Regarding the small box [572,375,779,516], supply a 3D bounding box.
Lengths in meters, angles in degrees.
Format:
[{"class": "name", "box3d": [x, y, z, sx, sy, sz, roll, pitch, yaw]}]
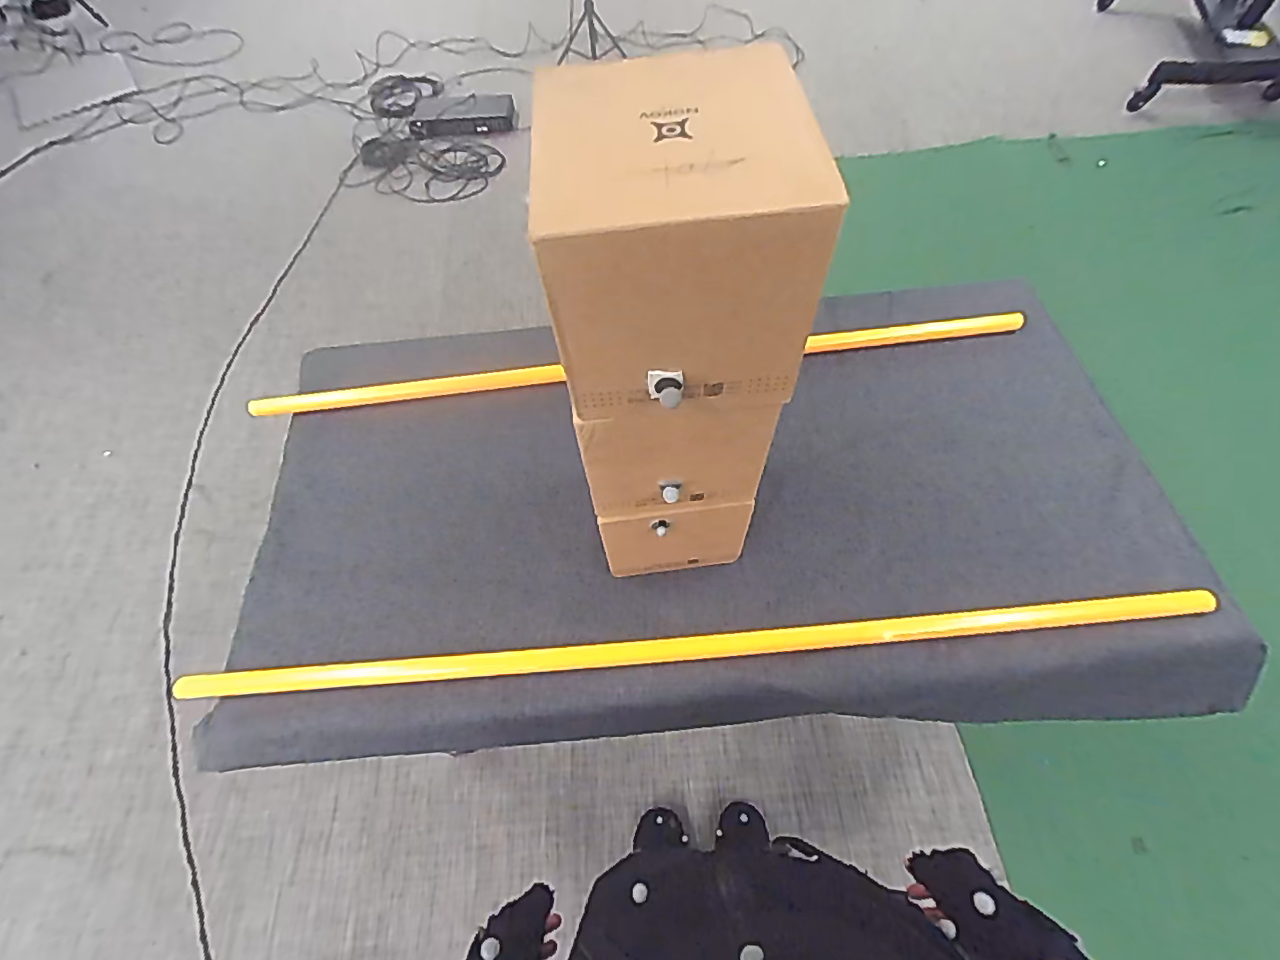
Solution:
[{"class": "small box", "box3d": [0.025, -0.083, 0.533, 0.168, 0.176, 0.179, -6, 60, 0]}]

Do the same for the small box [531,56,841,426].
[{"class": "small box", "box3d": [0.023, -0.162, 0.392, 0.168, 0.176, 0.179, -7, 61, 1]}]

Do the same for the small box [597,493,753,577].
[{"class": "small box", "box3d": [0.033, 0.002, 0.673, 0.168, 0.176, 0.179, -8, 60, 0]}]
